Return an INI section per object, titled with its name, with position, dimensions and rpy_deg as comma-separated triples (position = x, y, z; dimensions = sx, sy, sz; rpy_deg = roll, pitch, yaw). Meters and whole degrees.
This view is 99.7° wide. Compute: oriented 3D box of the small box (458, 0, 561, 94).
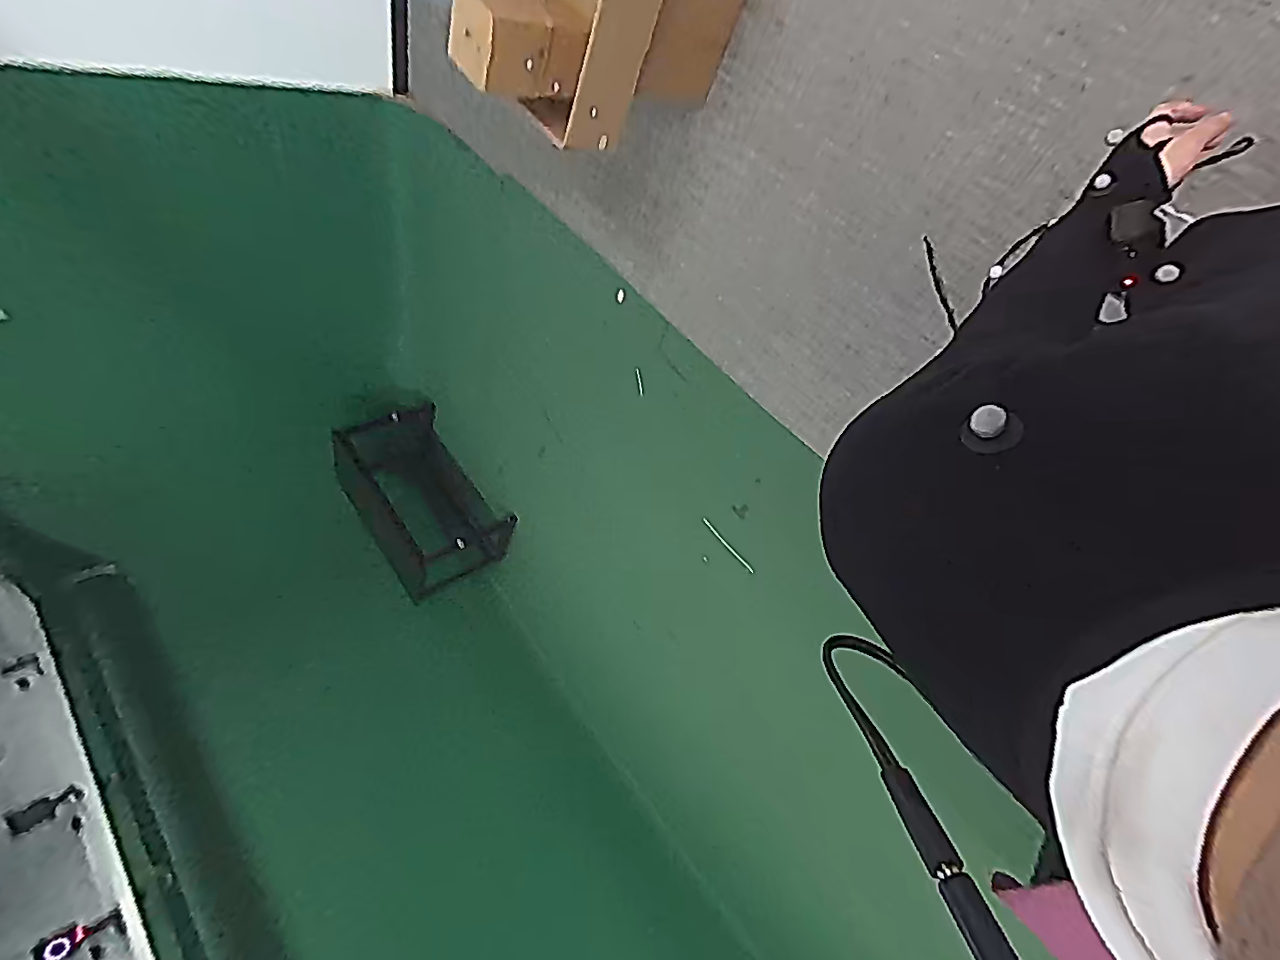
[small box]
position = -0.327, -1.100, 1.352
dimensions = 0.179, 0.176, 0.168
rpy_deg = 52, 142, 14
